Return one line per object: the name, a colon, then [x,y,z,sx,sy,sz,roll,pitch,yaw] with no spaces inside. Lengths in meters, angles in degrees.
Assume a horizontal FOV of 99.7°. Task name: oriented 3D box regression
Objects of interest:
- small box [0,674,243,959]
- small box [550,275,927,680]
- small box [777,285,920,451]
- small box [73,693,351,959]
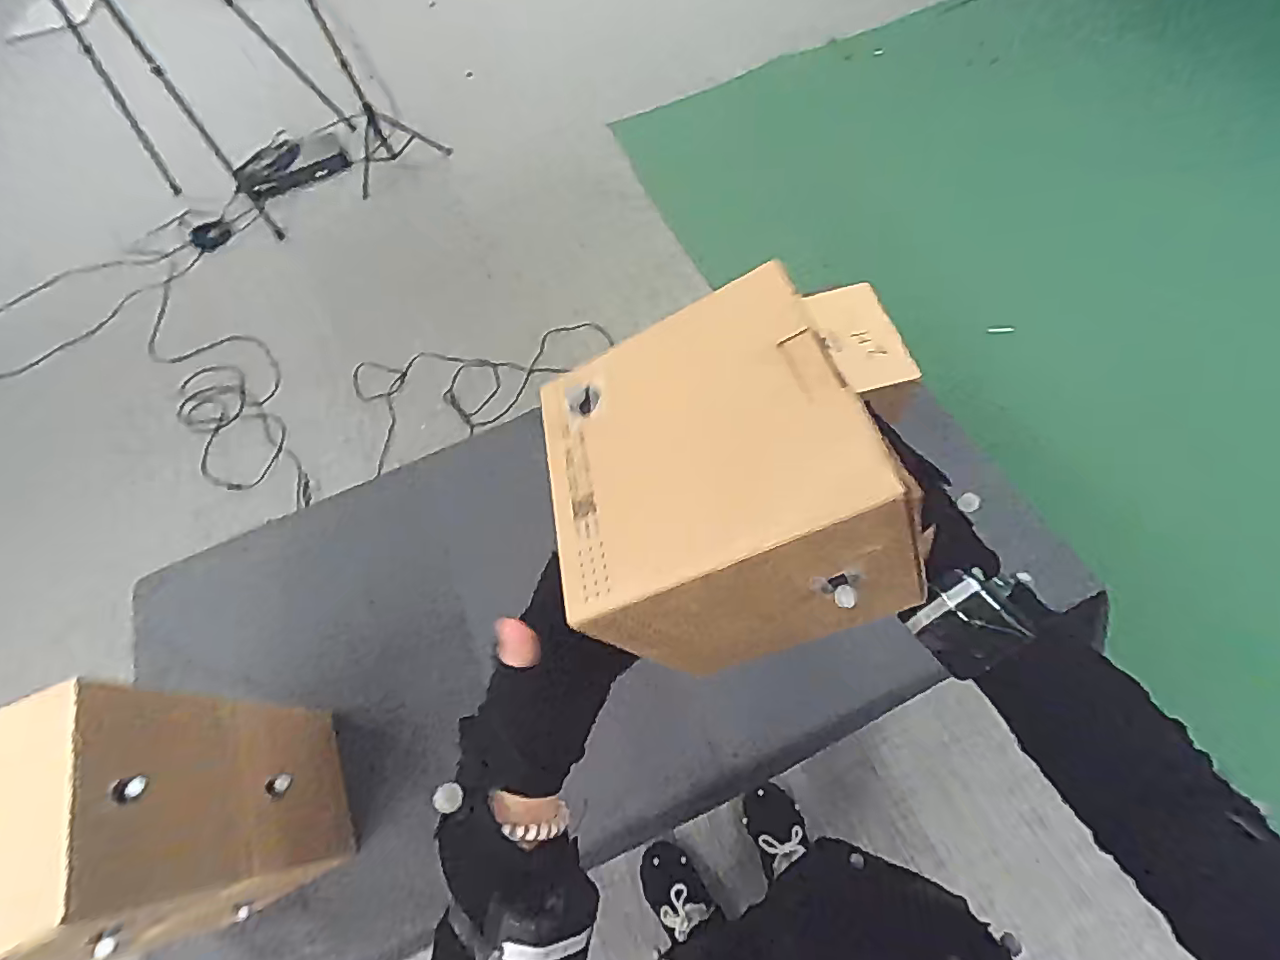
small box: [-0.471,0.287,0.450,0.168,0.176,0.179,-24,62,-6]
small box: [0.055,0.015,0.351,0.176,0.179,0.168,-27,53,18]
small box: [0.248,-0.134,0.754,0.179,0.176,0.168,-13,63,1]
small box: [-0.452,0.362,0.594,0.168,0.176,0.179,-26,63,-6]
